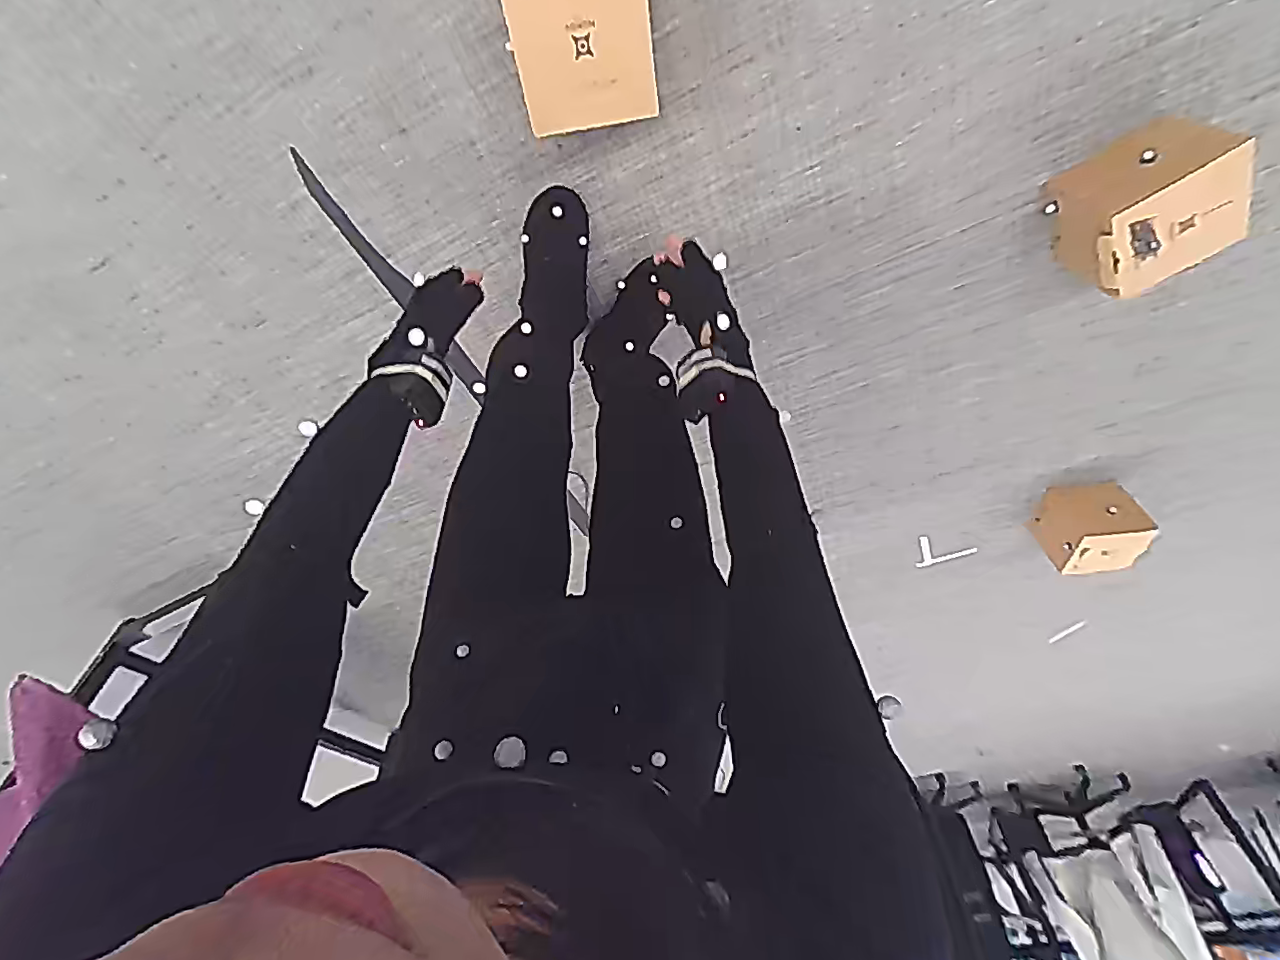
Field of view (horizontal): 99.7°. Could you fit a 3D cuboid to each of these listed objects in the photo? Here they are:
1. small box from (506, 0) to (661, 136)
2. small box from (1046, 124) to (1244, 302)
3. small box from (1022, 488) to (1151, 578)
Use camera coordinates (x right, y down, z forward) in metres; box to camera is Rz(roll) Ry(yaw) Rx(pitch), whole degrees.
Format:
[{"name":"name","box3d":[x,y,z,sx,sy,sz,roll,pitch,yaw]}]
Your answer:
[{"name":"small box","box3d":[-0.067,-0.570,0.690,0.168,0.176,0.179,-7,135,5]},{"name":"small box","box3d":[0.794,-0.429,0.871,0.179,0.176,0.168,-29,129,22]},{"name":"small box","box3d":[1.173,0.137,1.438,0.179,0.176,0.168,-8,134,4]}]
